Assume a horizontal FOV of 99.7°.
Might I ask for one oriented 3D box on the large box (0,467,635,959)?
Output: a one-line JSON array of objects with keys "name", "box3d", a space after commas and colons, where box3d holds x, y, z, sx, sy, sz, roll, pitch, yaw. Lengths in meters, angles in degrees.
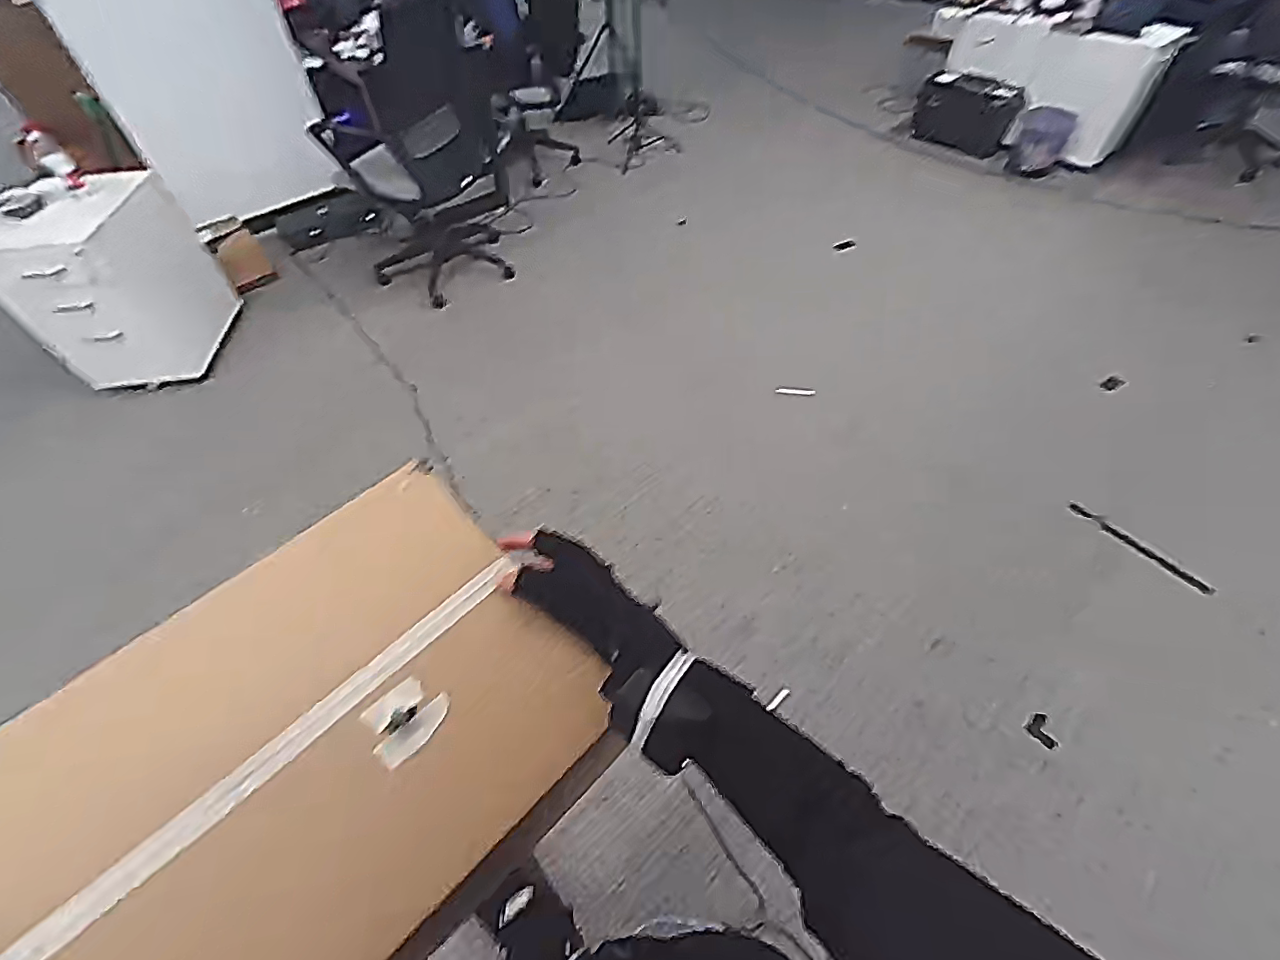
[{"name": "large box", "box3d": [-0.254, 0.273, 0.543, 0.408, 0.320, 0.320, -39, 68, -24]}]
